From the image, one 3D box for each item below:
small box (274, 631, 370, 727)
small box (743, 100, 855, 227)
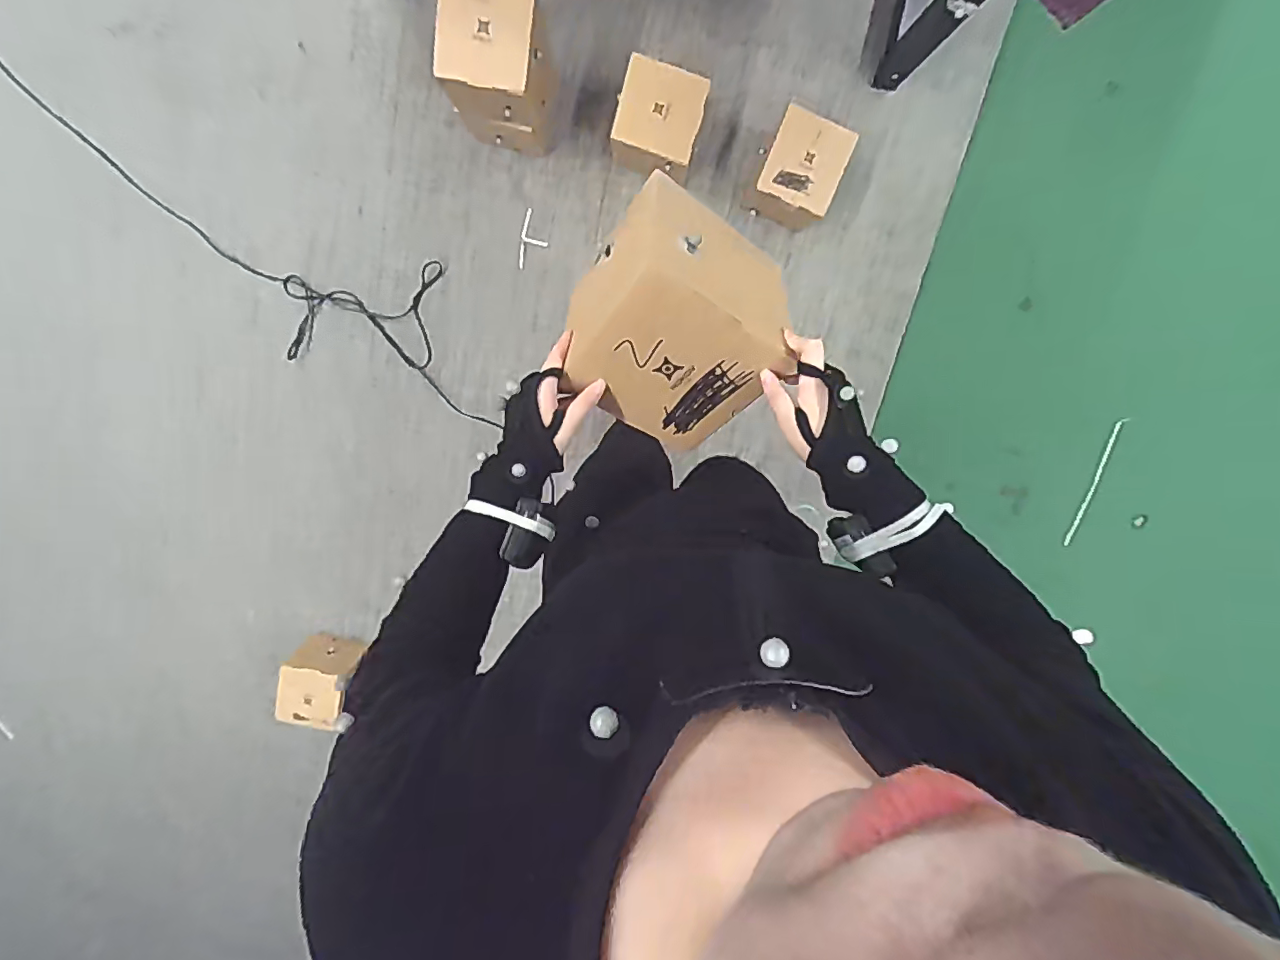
[{"bbox_3d":[-0.885,0.551,1.516,0.168,0.176,0.179,15,103,-4],"label":"small box"},{"bbox_3d":[0.348,-0.703,1.227,0.168,0.176,0.179,21,102,-6],"label":"small box"}]
